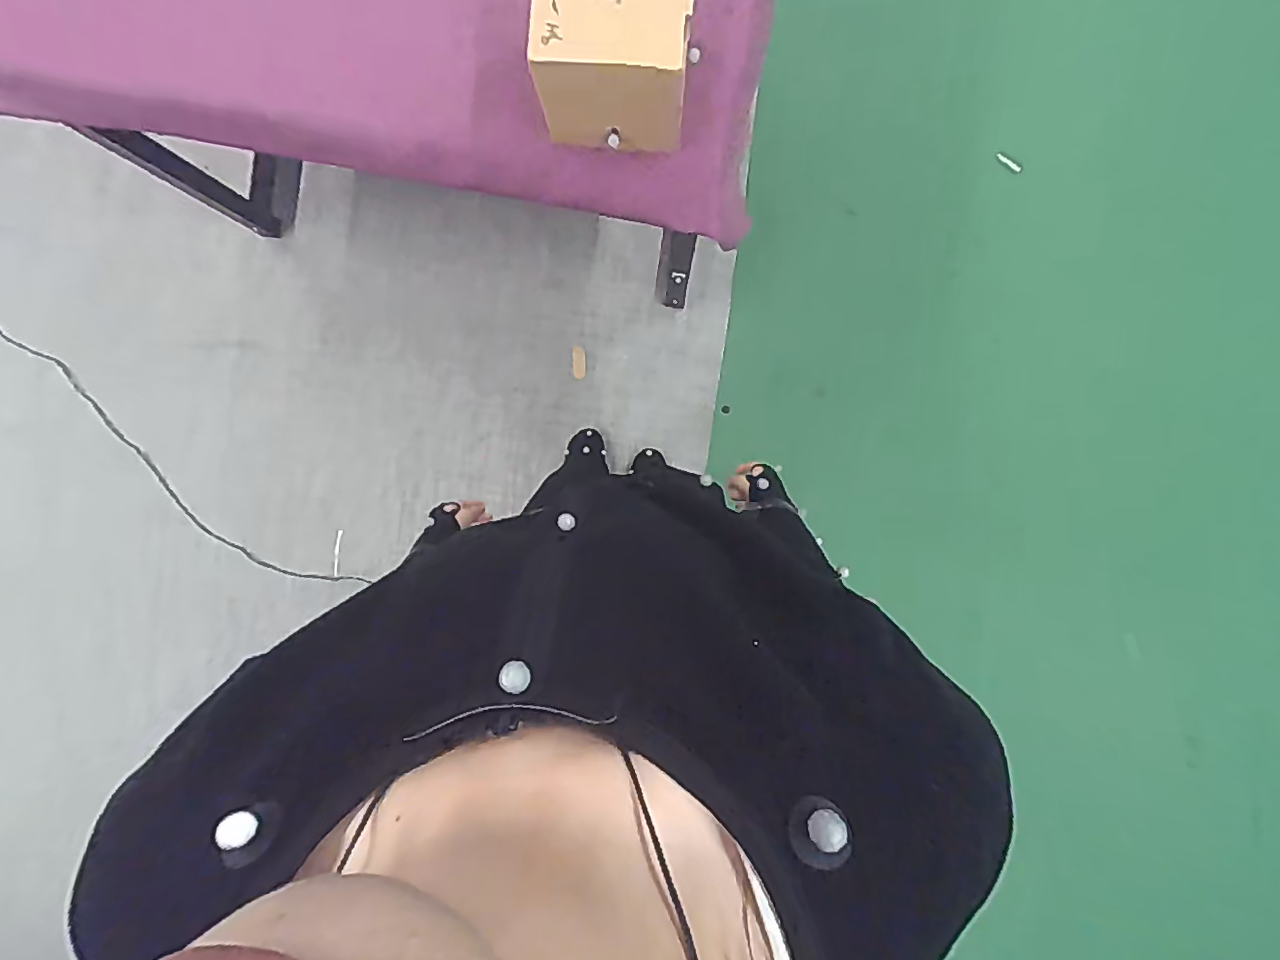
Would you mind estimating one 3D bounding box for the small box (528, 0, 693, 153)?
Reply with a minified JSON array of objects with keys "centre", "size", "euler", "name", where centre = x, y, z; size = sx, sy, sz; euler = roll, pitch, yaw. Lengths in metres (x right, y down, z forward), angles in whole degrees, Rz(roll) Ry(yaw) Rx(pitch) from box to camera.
[{"centre":[-0.029,-0.536,0.669],"size":[0.179,0.176,0.168],"euler":[5,93,1],"name":"small box"}]
